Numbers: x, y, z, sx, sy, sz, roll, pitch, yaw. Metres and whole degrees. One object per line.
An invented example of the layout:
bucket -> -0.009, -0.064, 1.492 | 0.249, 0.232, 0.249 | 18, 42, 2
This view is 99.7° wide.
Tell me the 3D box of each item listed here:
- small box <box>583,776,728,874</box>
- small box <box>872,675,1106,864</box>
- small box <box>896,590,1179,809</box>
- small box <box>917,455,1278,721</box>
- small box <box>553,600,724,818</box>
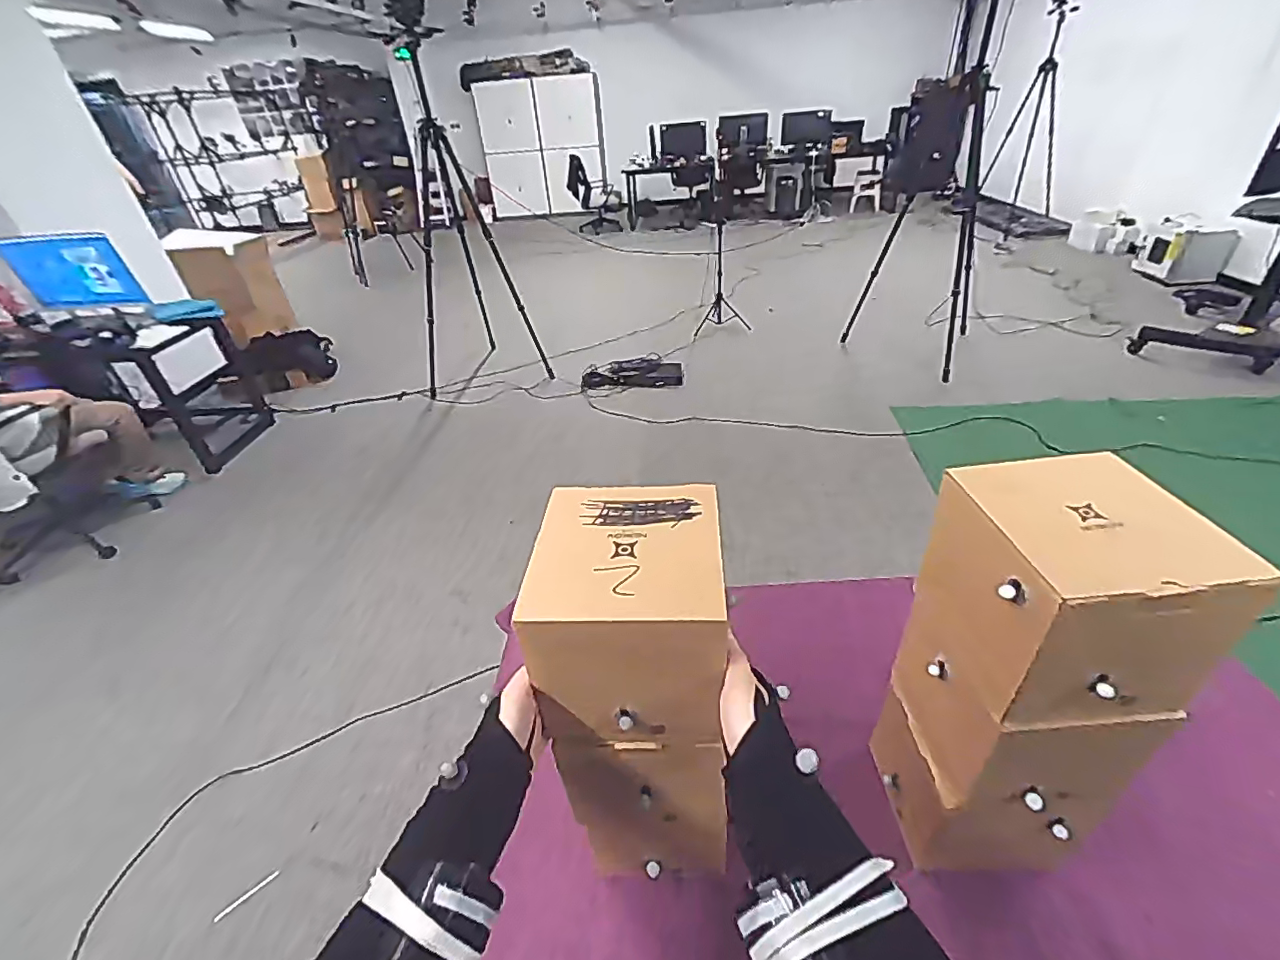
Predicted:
small box -> 0.025, 0.389, 0.718 | 0.168, 0.176, 0.179 | -3, 36, 4
small box -> 0.422, 0.366, 0.693 | 0.179, 0.176, 0.168 | -4, 35, 3
small box -> 0.408, 0.233, 0.601 | 0.168, 0.176, 0.179 | -5, 36, 2
small box -> 0.392, 0.097, 0.512 | 0.168, 0.176, 0.179 | -6, 36, 0
small box -> 0.008, 0.260, 0.617 | 0.168, 0.176, 0.179 | -2, 36, 4
